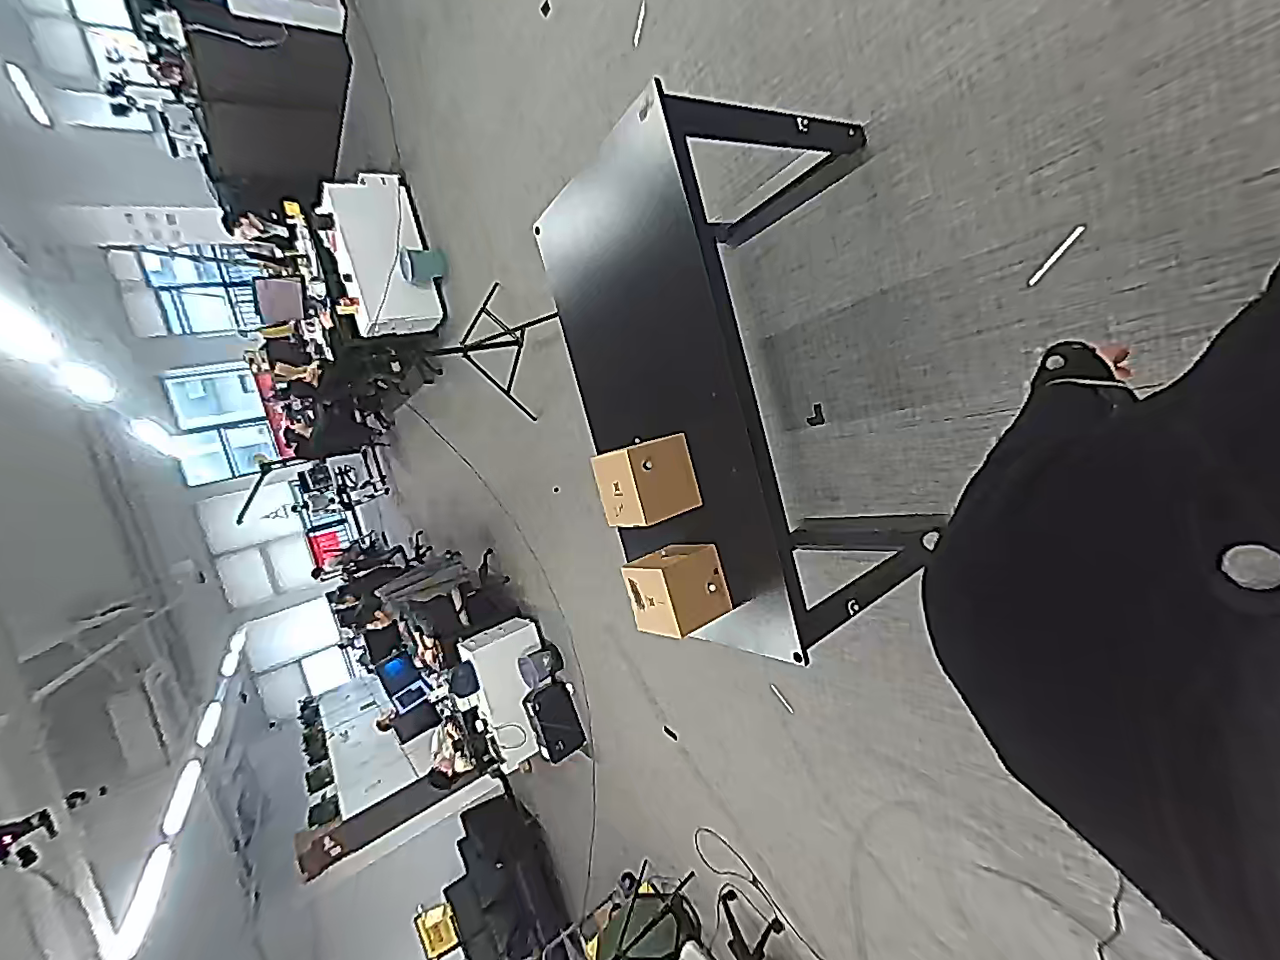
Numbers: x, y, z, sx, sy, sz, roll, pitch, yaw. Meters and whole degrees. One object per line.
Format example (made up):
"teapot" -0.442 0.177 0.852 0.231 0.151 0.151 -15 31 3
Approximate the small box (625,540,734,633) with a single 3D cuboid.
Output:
"small box" 0.095 0.248 1.301 0.179 0.176 0.168 -12 96 56

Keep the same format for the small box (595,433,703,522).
"small box" 0.022 -0.008 1.279 0.168 0.176 0.179 -8 99 57
